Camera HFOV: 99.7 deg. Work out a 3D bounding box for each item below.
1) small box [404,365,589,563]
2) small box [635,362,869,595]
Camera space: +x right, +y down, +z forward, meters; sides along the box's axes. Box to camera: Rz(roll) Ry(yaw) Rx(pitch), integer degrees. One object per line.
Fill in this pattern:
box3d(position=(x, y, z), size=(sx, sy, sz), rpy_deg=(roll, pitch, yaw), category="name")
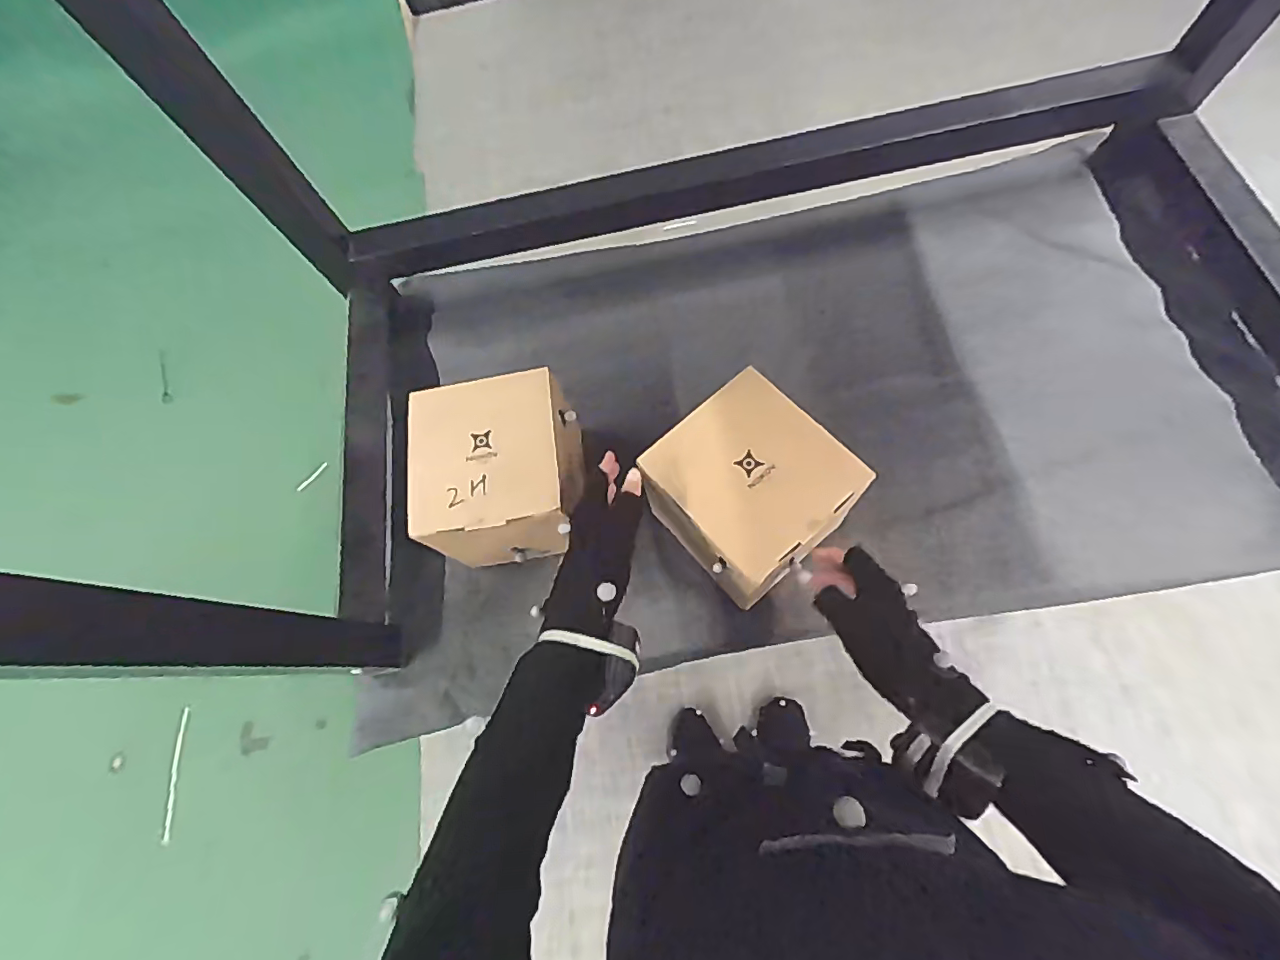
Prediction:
box3d(position=(-0.165, -0.011, 0.659), size=(0.168, 0.176, 0.179), rpy_deg=(-10, 69, 4), category="small box")
box3d(position=(0.117, 0.009, 0.616), size=(0.168, 0.176, 0.179), rpy_deg=(-41, 70, -8), category="small box")
